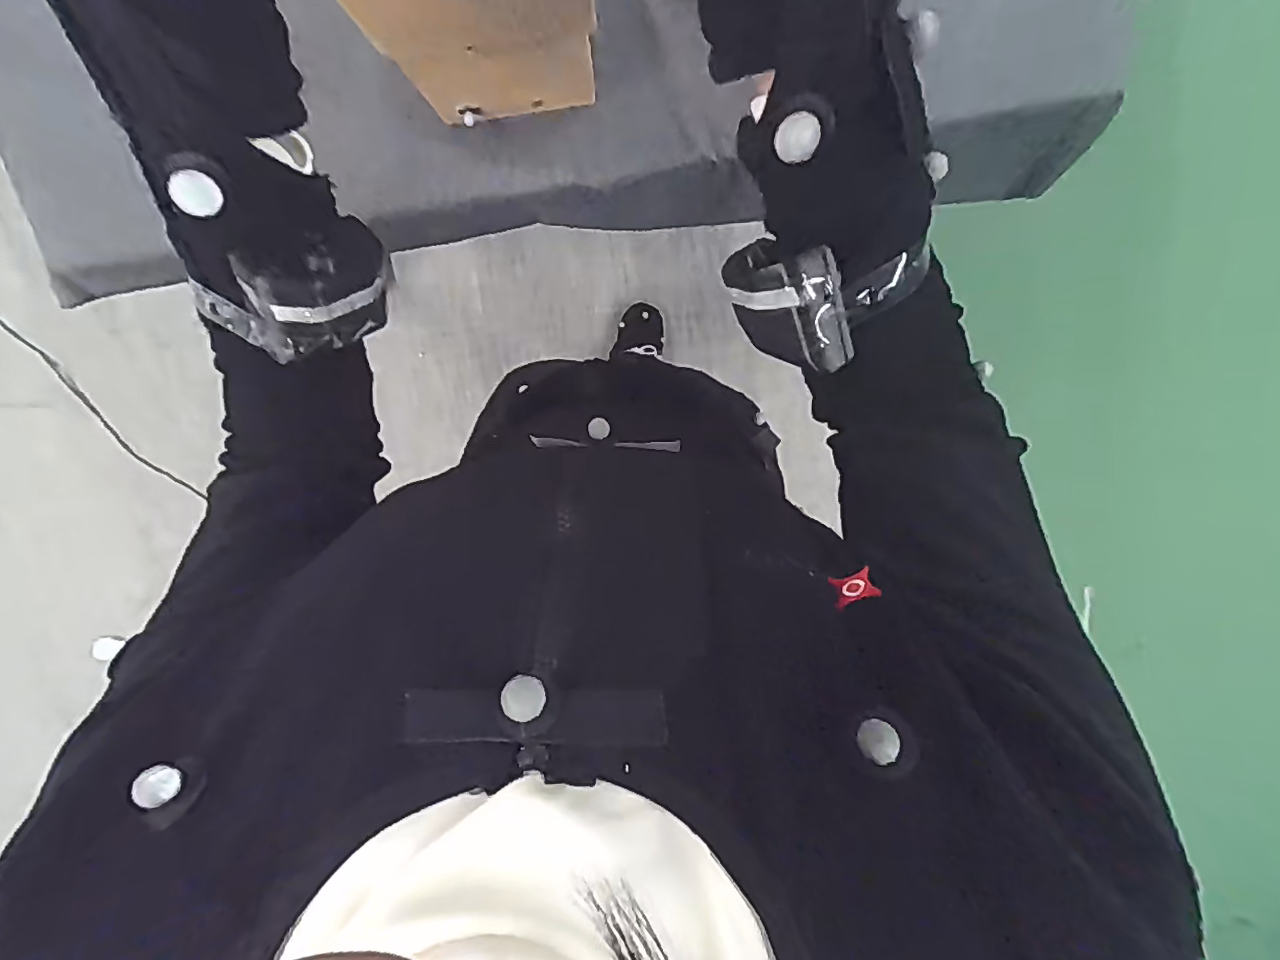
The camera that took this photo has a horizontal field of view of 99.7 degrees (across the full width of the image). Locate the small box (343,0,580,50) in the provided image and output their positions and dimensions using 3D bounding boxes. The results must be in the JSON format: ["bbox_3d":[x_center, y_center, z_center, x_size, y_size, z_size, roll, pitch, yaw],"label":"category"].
[{"bbox_3d":[-0.129,-0.413,0.337,0.179,0.176,0.168,-7,102,1],"label":"small box"}]

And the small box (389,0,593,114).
[{"bbox_3d":[-0.142,-0.465,0.491,0.168,0.176,0.179,-12,105,2],"label":"small box"}]
